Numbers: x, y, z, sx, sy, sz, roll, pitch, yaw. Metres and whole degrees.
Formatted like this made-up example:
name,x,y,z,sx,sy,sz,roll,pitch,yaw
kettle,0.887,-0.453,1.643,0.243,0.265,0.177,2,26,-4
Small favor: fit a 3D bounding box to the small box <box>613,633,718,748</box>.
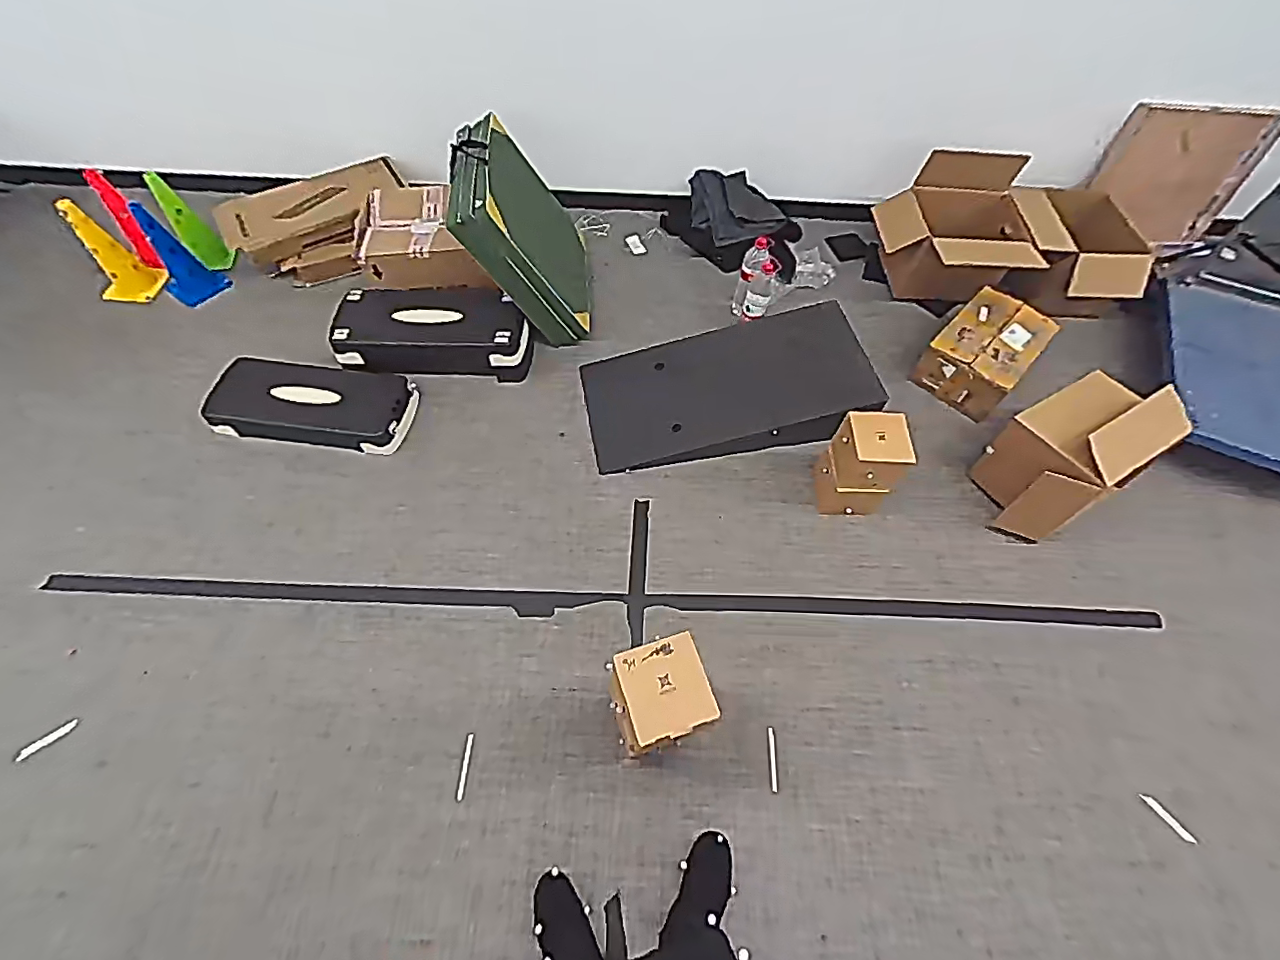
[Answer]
name,x,y,z,sx,sy,sz,roll,pitch,yaw
small box,0.047,0.440,1.117,0.168,0.176,0.179,-14,62,-11
